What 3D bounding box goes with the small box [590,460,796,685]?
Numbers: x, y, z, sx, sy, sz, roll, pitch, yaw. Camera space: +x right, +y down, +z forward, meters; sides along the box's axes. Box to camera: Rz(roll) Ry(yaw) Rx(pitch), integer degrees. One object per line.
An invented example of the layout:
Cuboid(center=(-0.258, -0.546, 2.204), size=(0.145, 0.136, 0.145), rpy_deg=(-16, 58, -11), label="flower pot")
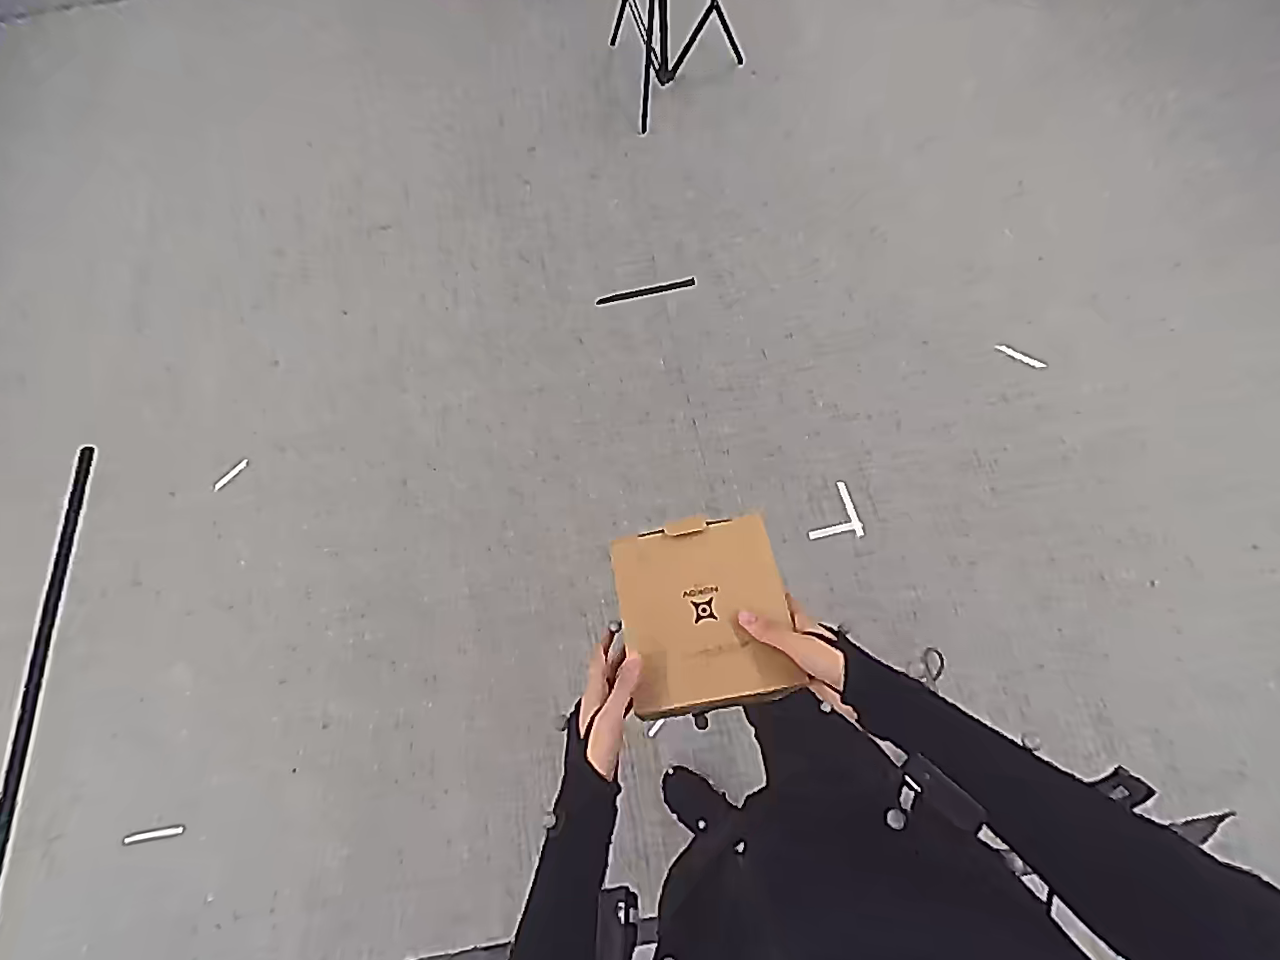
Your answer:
Cuboid(center=(0.044, 0.104, 0.570), size=(0.168, 0.176, 0.179), rpy_deg=(-10, 63, -2), label="small box")
